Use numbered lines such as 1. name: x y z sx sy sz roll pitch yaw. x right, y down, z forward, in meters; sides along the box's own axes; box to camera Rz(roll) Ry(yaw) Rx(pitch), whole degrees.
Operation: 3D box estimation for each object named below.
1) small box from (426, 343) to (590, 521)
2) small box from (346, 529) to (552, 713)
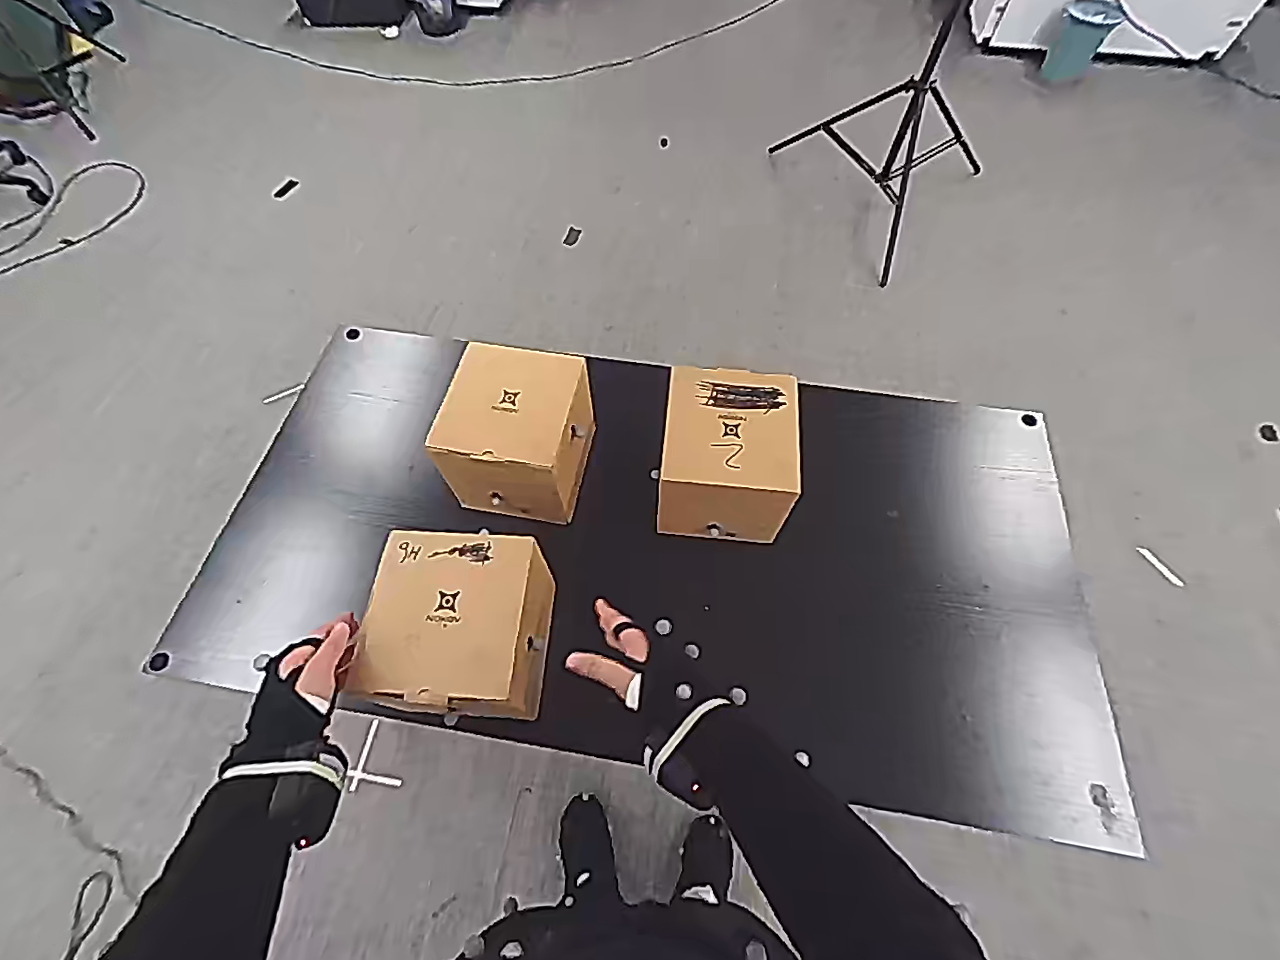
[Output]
1. small box: -0.170 -0.063 0.768 0.168 0.176 0.179 9 62 5
2. small box: -0.204 0.173 0.638 0.168 0.176 0.179 2 62 2
